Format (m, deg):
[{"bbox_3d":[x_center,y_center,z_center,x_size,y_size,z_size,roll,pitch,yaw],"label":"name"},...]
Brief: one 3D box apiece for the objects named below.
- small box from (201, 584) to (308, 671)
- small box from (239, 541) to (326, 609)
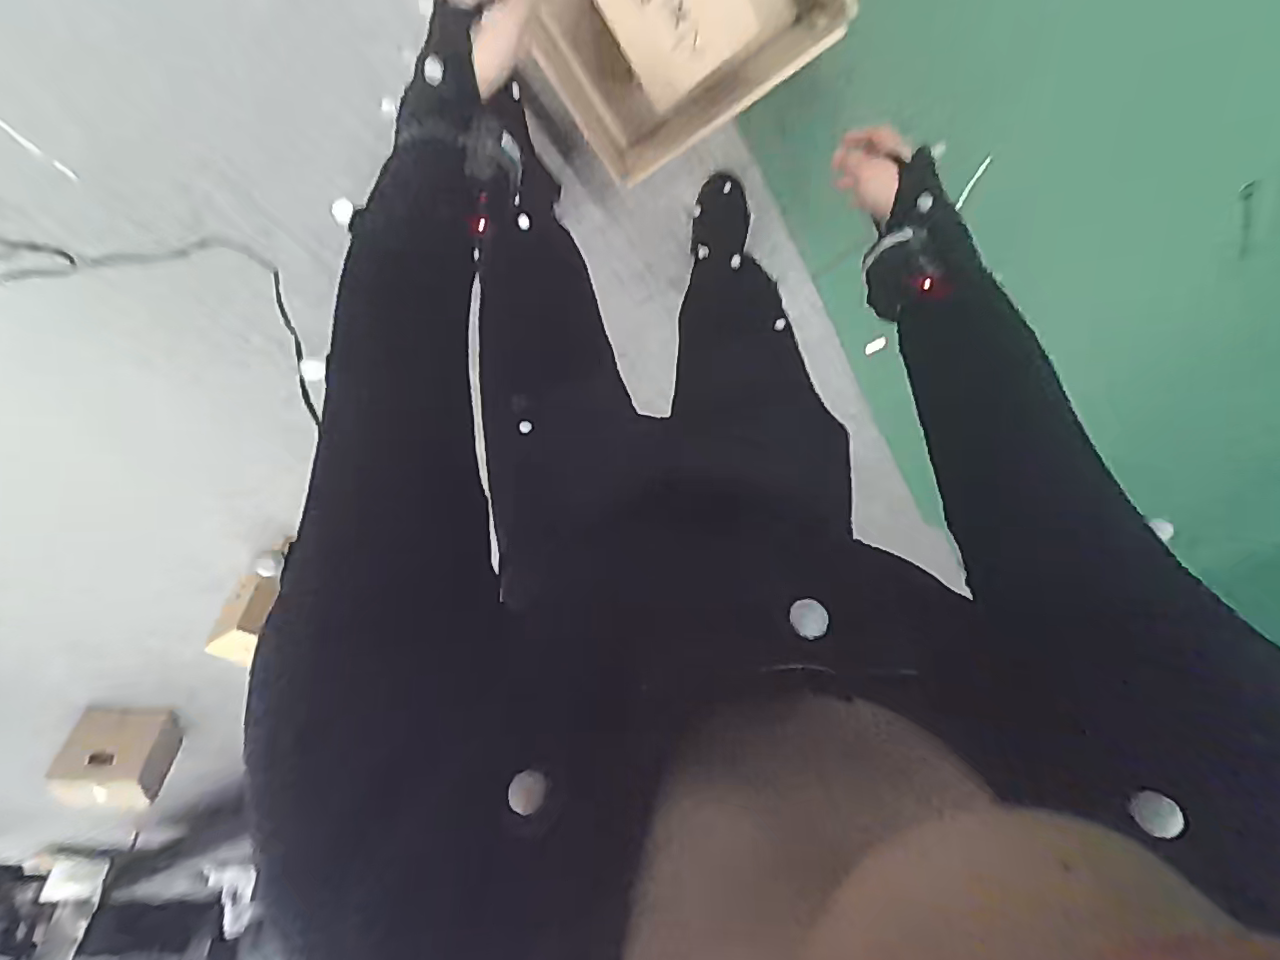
[{"bbox_3d":[-1.128,0.436,1.600,0.168,0.176,0.179,-29,131,20],"label":"small box"},{"bbox_3d":[-1.132,0.321,1.717,0.179,0.176,0.168,-29,132,21],"label":"small box"}]
